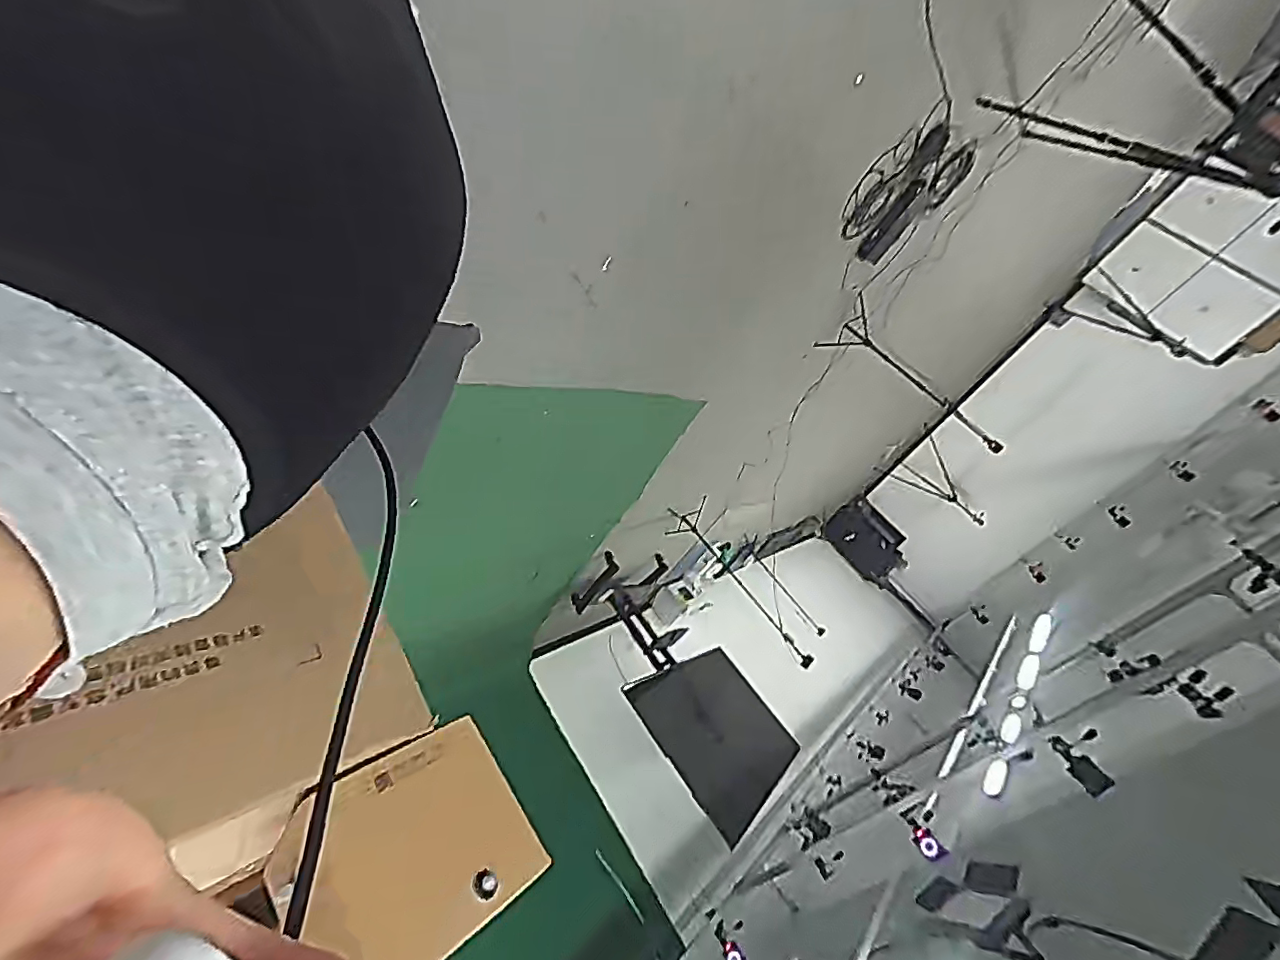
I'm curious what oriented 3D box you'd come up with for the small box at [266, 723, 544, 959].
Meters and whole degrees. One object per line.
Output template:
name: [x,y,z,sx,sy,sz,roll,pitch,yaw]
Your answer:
small box: [-0.231,0.374,0.523,0.168,0.176,0.179,-11,144,-53]
